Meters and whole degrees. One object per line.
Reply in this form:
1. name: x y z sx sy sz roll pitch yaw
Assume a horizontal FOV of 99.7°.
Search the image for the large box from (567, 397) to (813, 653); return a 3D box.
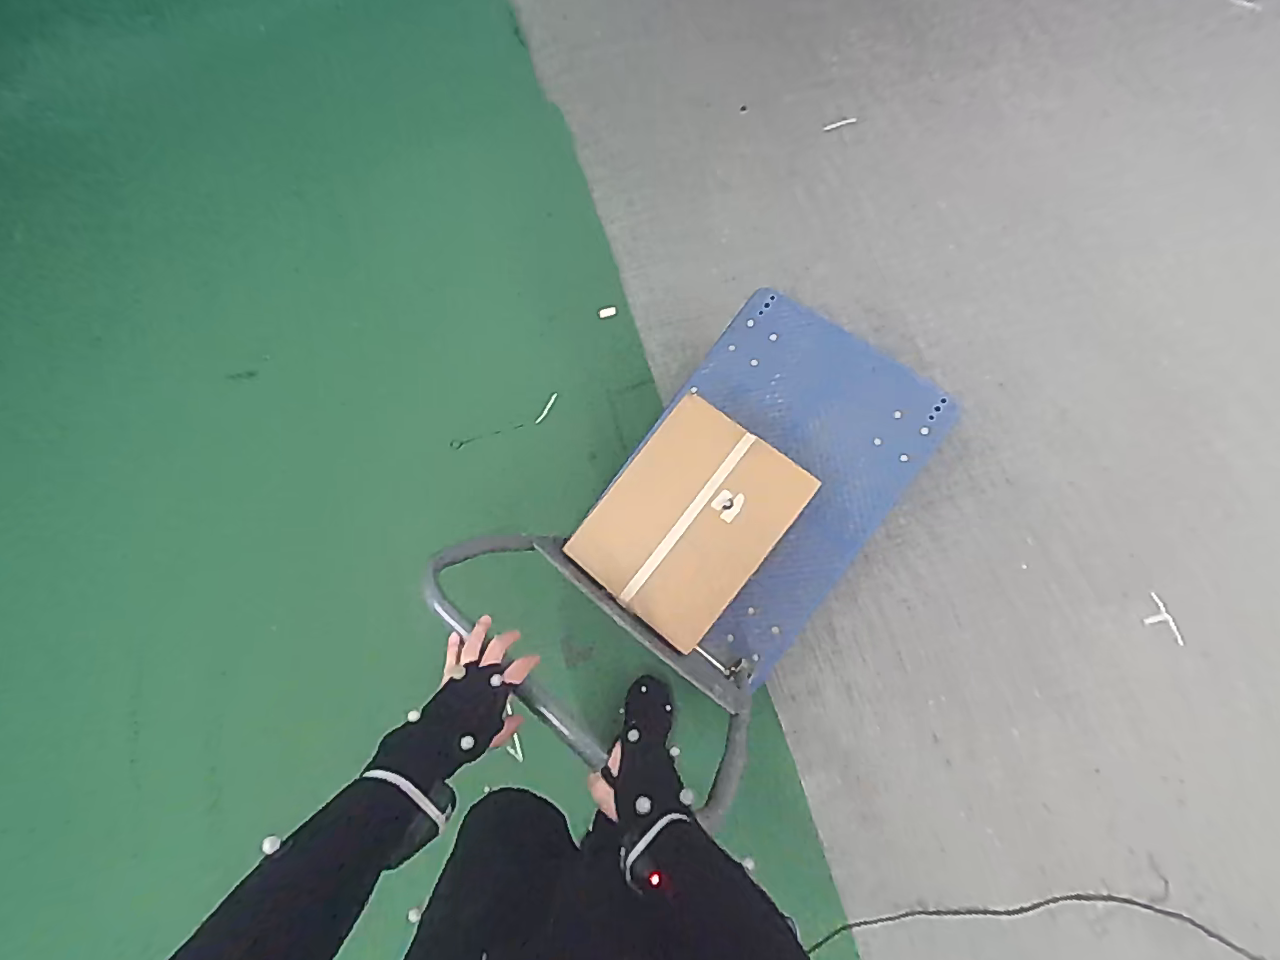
1. large box: 0.115 0.107 1.177 0.320 0.320 0.408 38 87 14
